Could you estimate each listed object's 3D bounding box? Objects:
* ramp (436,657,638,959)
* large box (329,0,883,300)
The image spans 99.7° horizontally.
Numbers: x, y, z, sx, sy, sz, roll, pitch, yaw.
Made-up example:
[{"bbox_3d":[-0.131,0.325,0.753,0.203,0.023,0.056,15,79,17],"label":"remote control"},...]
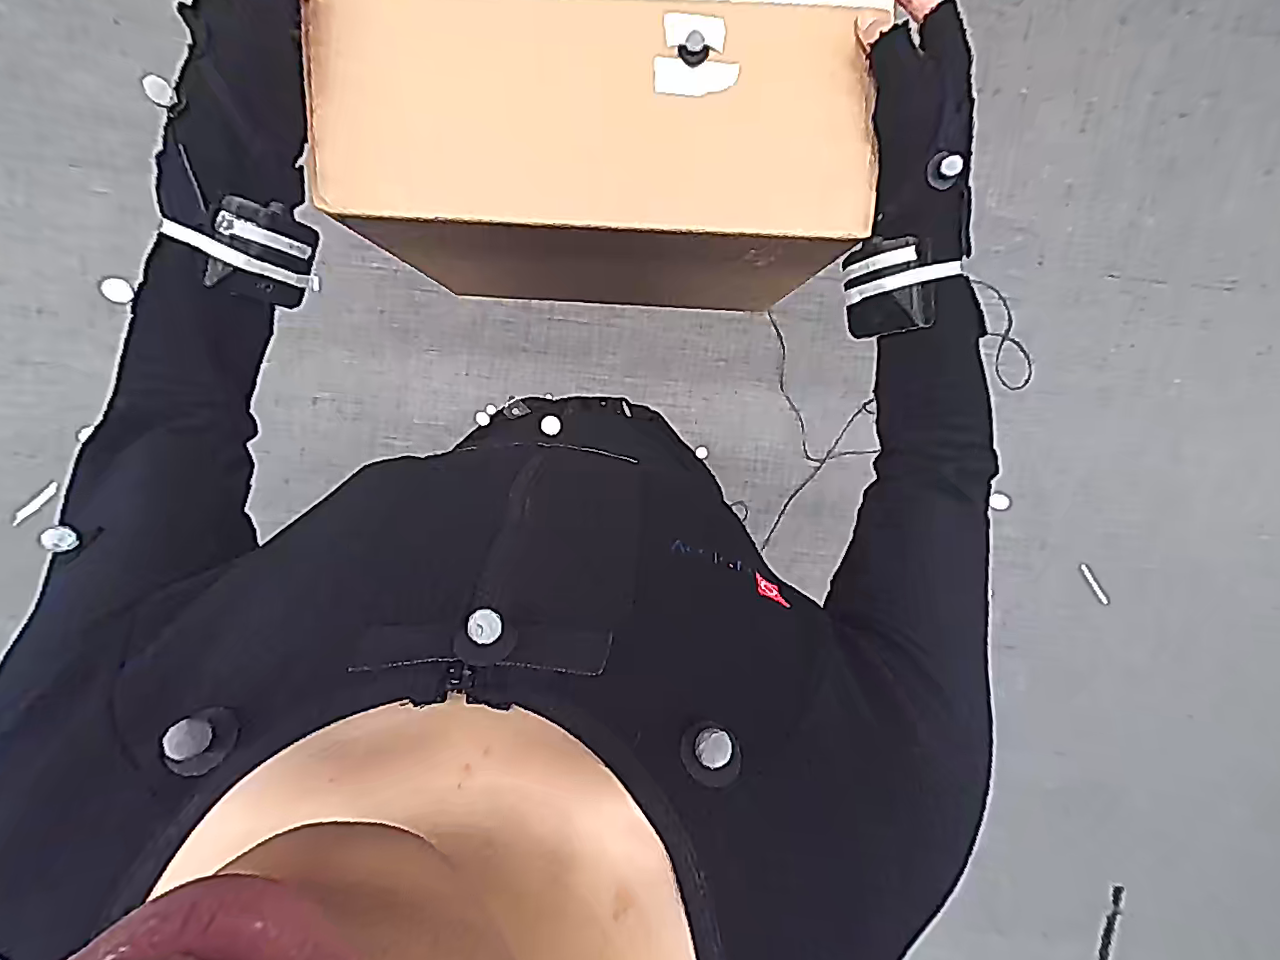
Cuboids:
[{"bbox_3d":[-0.284,1.009,1.486,0.509,0.206,0.991,3,95,-1],"label":"ramp"},{"bbox_3d":[-0.026,-0.369,0.534,0.408,0.320,0.320,2,98,-2],"label":"large box"}]
